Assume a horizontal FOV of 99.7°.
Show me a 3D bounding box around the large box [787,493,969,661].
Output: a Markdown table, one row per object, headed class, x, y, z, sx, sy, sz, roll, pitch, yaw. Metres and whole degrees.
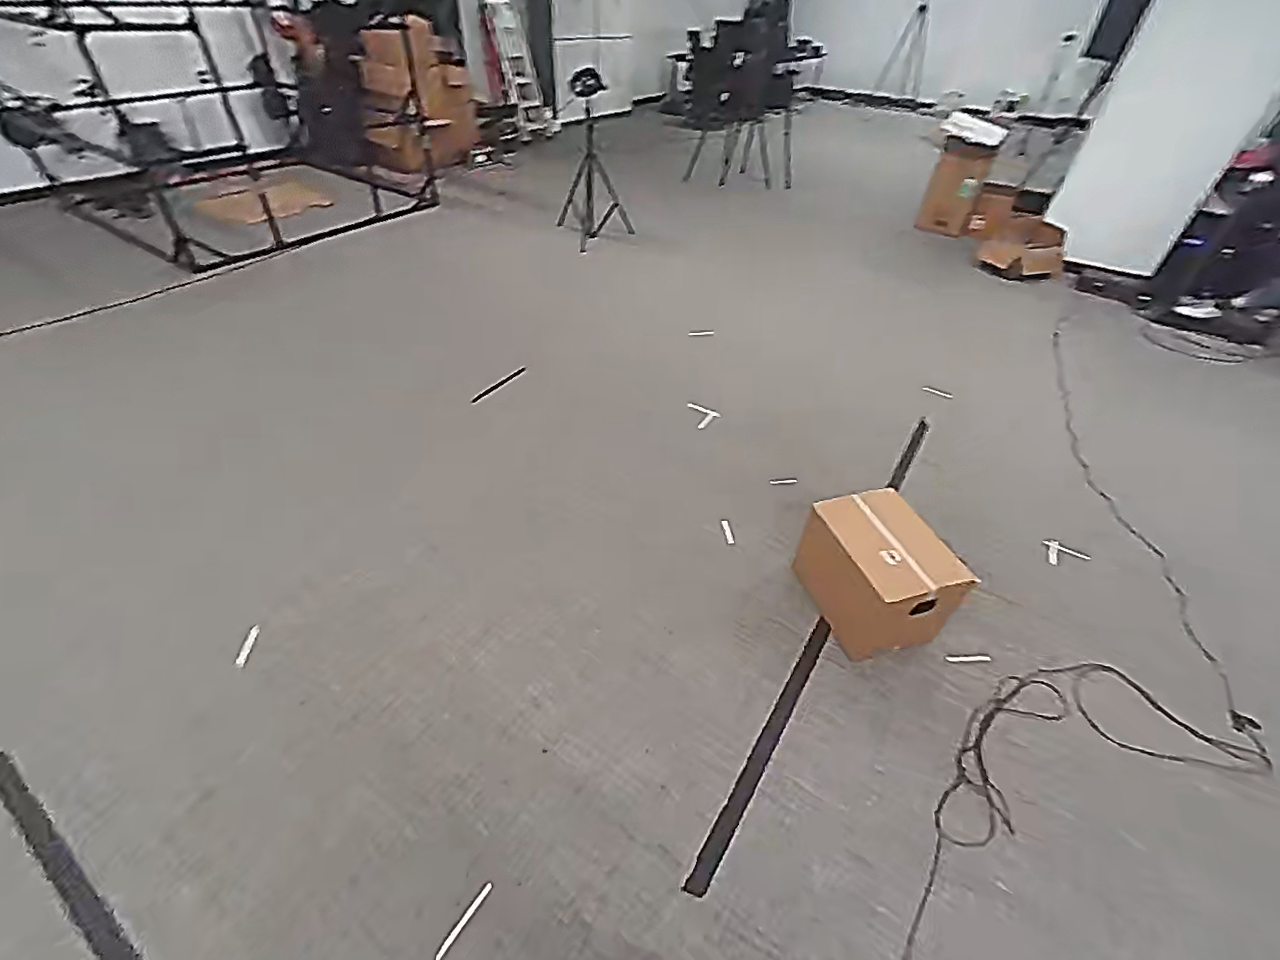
| class | x | y | z | sx | sy | sz | roll | pitch | yaw |
| --- | --- | --- | --- | --- | --- | --- | --- | --- | --- |
| large box | 0.739 | 0.305 | 1.755 | 0.320 | 0.320 | 0.408 | -10 | 44 | -14 |
